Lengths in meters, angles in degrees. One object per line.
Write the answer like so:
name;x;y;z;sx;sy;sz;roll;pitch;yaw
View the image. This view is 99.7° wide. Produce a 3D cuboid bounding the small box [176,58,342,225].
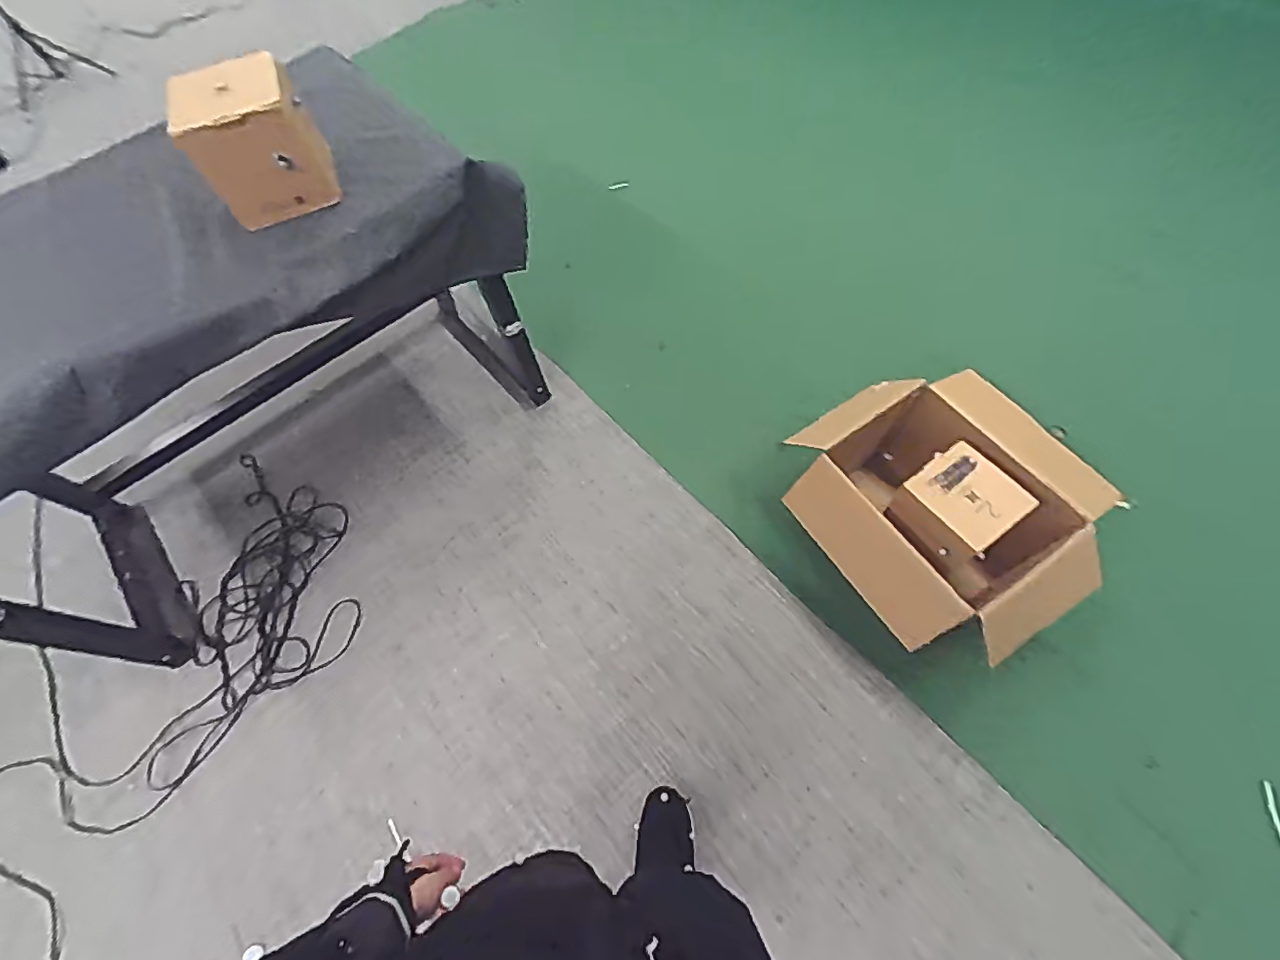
small box;-0.630;-0.558;0.911;0.168;0.176;0.179;-22;61;-7
